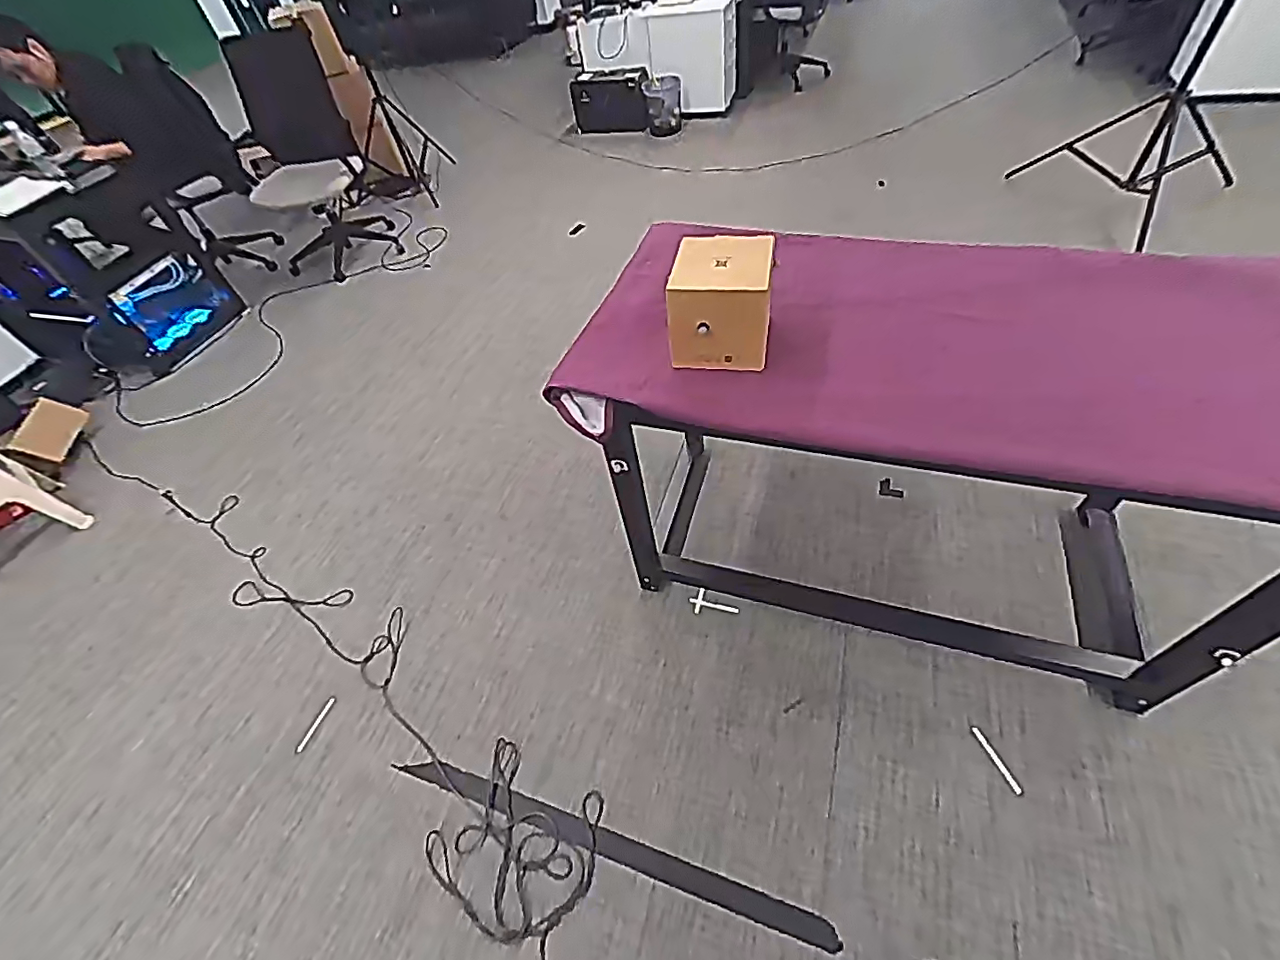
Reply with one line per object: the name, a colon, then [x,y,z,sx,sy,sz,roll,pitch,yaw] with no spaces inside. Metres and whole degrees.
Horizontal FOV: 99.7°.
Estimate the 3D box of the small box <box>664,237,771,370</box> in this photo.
small box: [0.146,-0.316,0.981,0.168,0.176,0.179,5,51,13]
